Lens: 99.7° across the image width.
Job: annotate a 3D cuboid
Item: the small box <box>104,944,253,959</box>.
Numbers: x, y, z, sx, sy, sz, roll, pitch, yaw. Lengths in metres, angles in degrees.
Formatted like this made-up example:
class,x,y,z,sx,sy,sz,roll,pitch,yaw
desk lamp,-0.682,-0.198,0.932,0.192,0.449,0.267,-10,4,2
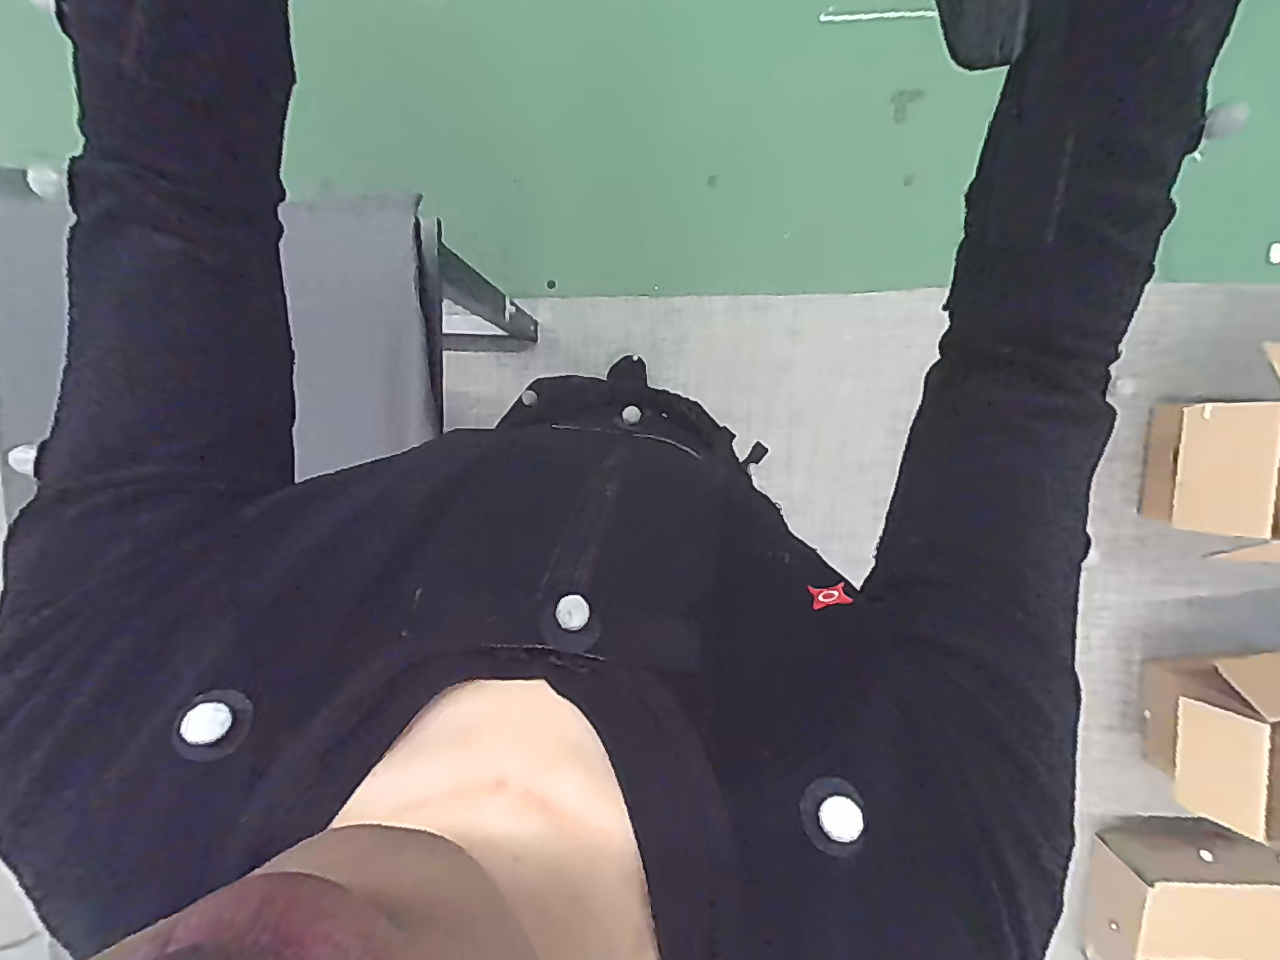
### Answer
class,x,y,z,sx,sy,sz,roll,pitch,yaw
small box,-0.547,0.636,0.565,0.179,0.176,0.168,4,96,-1
